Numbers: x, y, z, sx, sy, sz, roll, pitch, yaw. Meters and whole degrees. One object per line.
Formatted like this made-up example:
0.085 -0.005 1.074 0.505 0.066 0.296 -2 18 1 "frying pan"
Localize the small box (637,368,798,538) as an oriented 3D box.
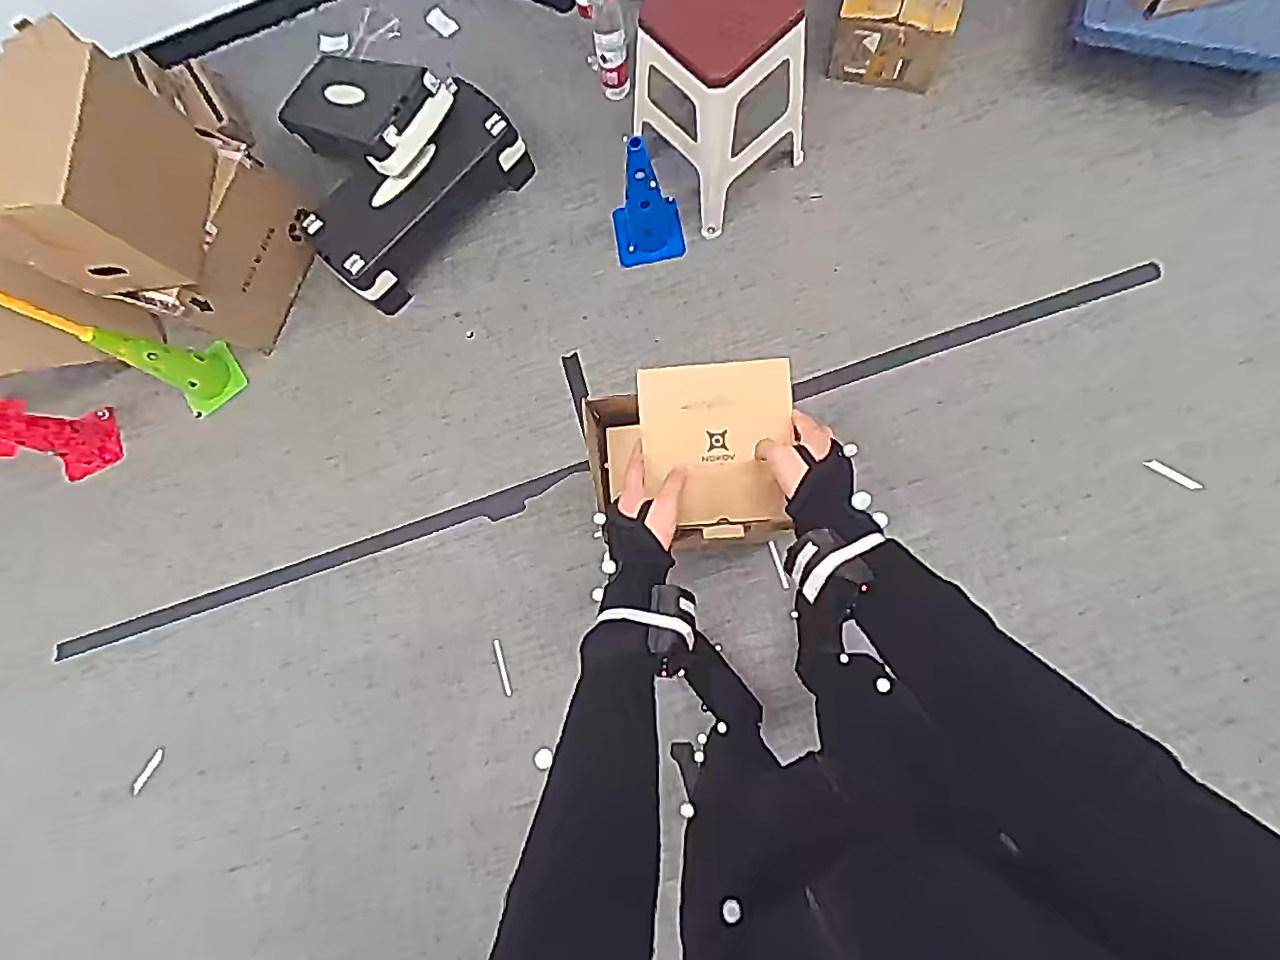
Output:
0.087 -0.029 0.660 0.168 0.176 0.179 -4 88 2 "small box"
